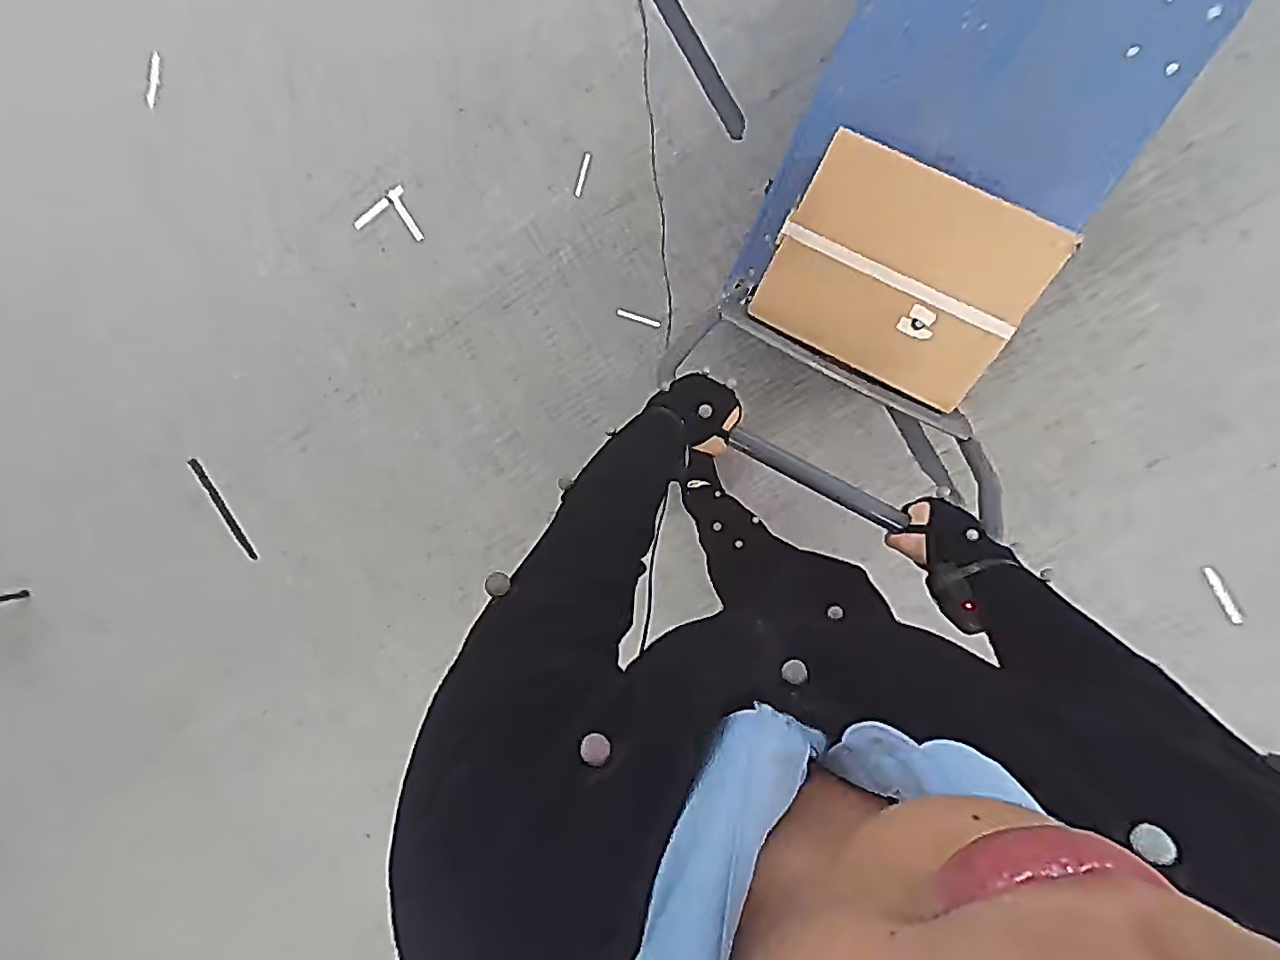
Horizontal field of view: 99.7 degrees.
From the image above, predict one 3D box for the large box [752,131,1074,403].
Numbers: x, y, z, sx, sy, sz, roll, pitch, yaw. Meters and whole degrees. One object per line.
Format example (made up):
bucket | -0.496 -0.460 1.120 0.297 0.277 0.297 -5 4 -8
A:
large box | 0.475 -0.403 1.043 0.408 0.320 0.320 28 119 5
